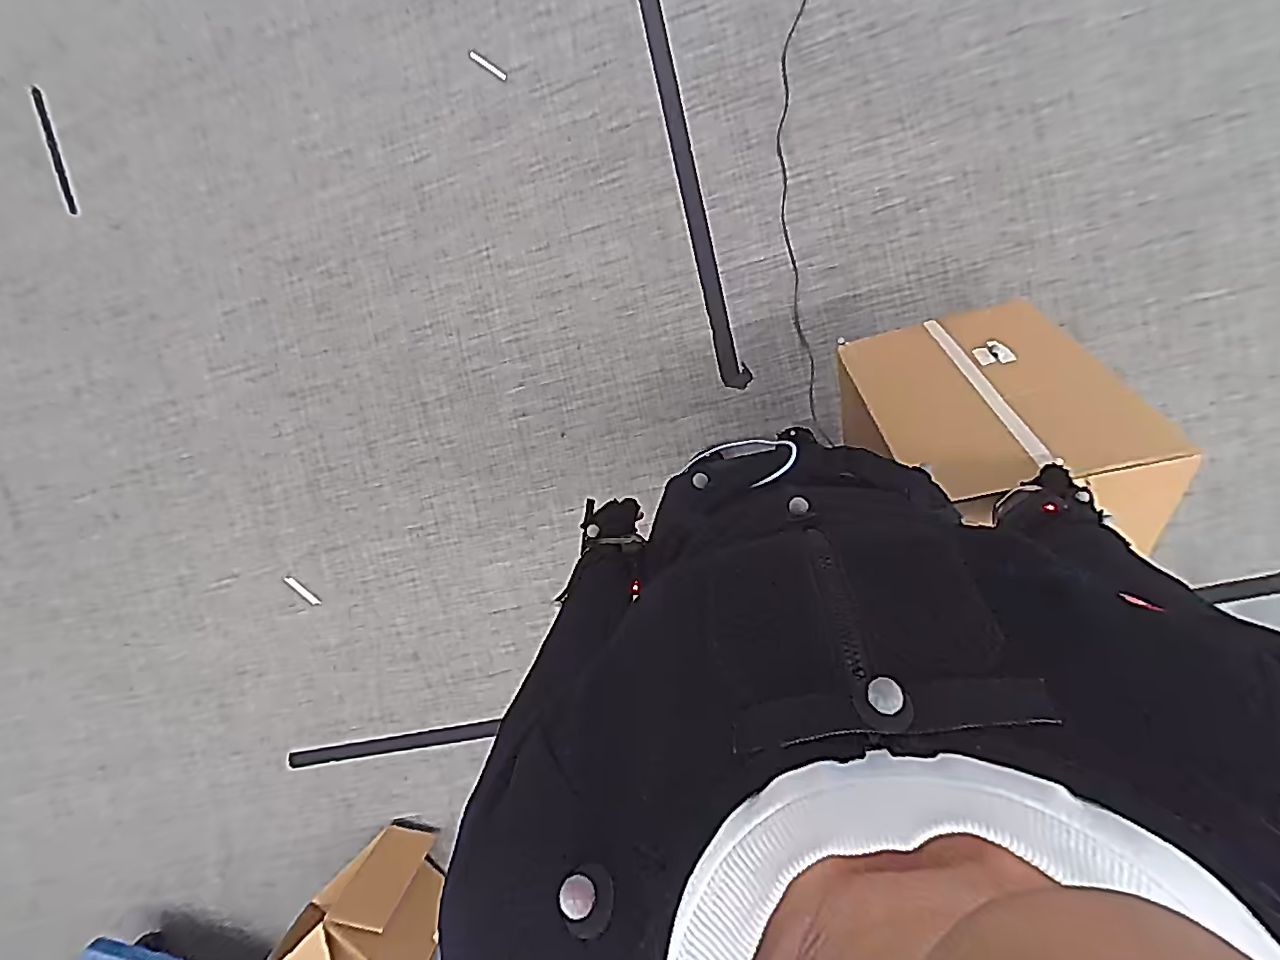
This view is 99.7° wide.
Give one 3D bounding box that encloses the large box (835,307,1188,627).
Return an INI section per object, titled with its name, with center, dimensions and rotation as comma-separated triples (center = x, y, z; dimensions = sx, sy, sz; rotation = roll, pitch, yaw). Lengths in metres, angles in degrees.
[large box]
center = 0.551, -0.026, 0.911
dimensions = 0.320, 0.408, 0.320
rotation = -13, 131, 10
